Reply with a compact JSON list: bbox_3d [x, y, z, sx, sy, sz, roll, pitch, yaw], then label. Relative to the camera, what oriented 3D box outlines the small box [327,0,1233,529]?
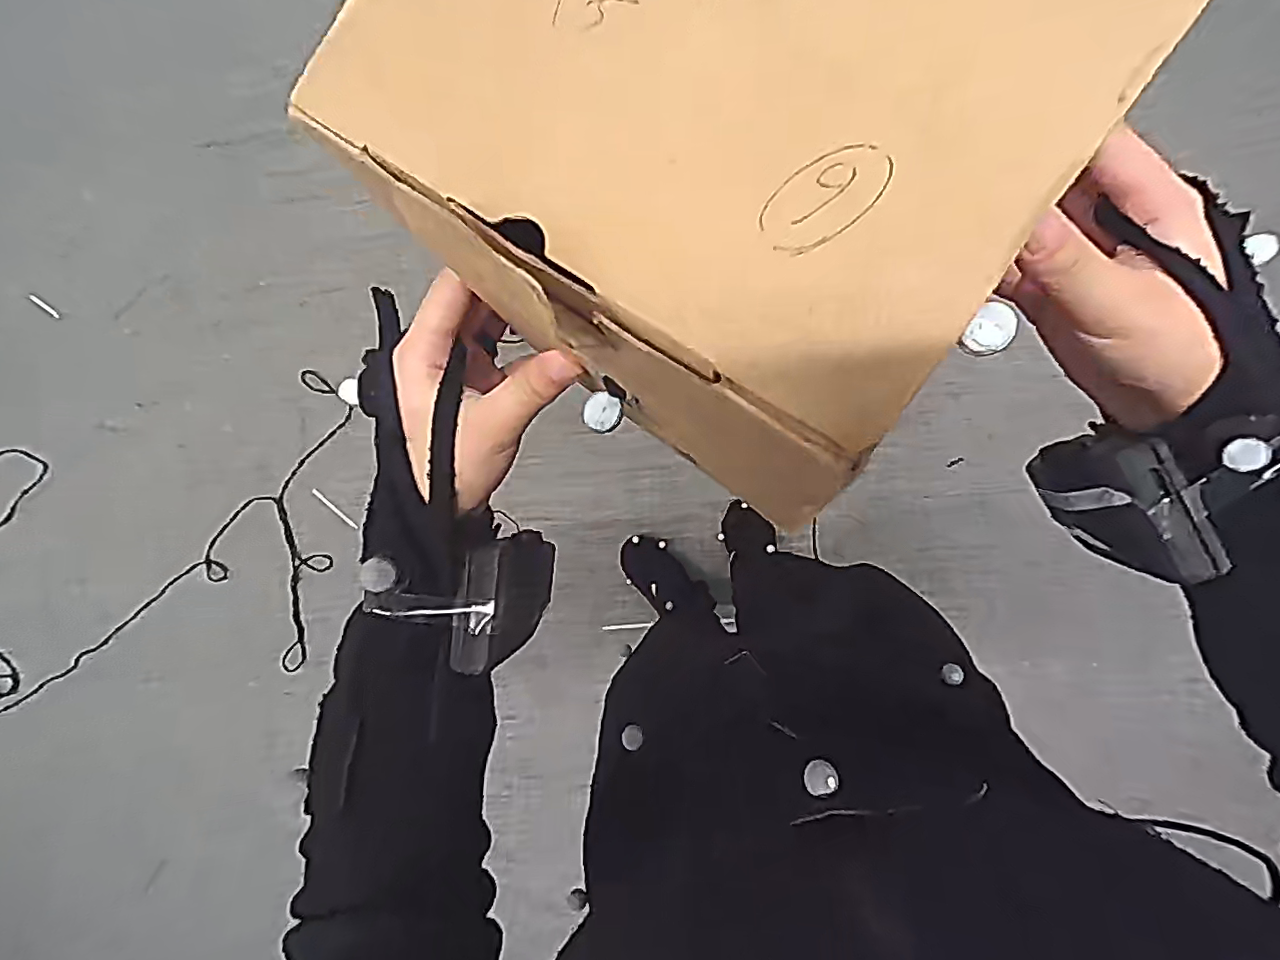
[{"bbox_3d":[0.045,-0.096,0.198,0.168,0.176,0.179,37,91,16],"label":"small box"}]
